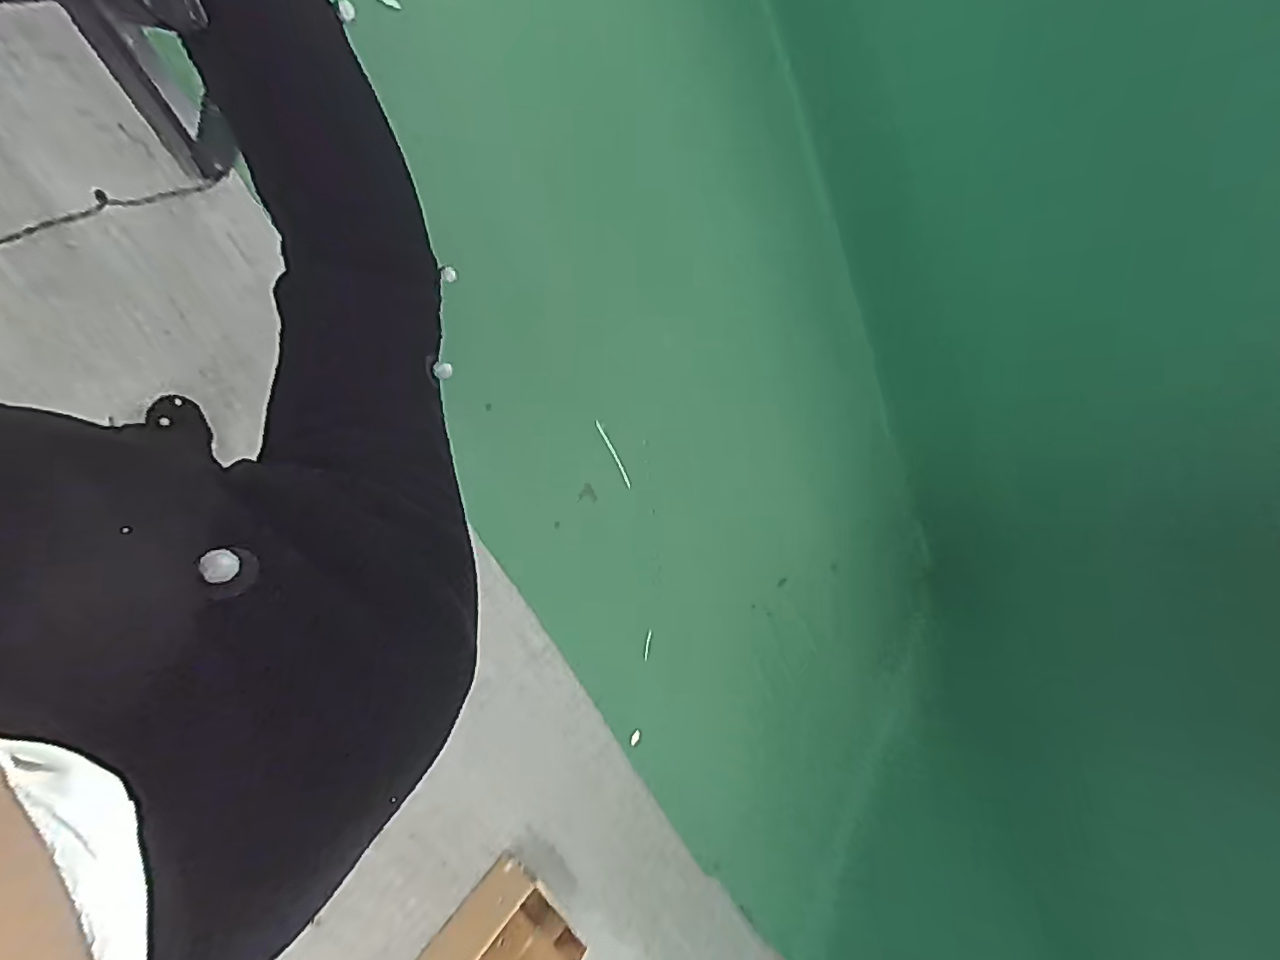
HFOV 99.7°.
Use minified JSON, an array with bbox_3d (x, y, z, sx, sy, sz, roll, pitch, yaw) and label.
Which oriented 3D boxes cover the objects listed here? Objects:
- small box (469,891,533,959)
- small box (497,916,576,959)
[{"bbox_3d":[-0.410,1.459,1.717,0.168,0.176,0.179,-43,116,-34],"label":"small box"},{"bbox_3d":[-0.293,1.454,1.601,0.168,0.176,0.179,-36,113,-38],"label":"small box"}]
